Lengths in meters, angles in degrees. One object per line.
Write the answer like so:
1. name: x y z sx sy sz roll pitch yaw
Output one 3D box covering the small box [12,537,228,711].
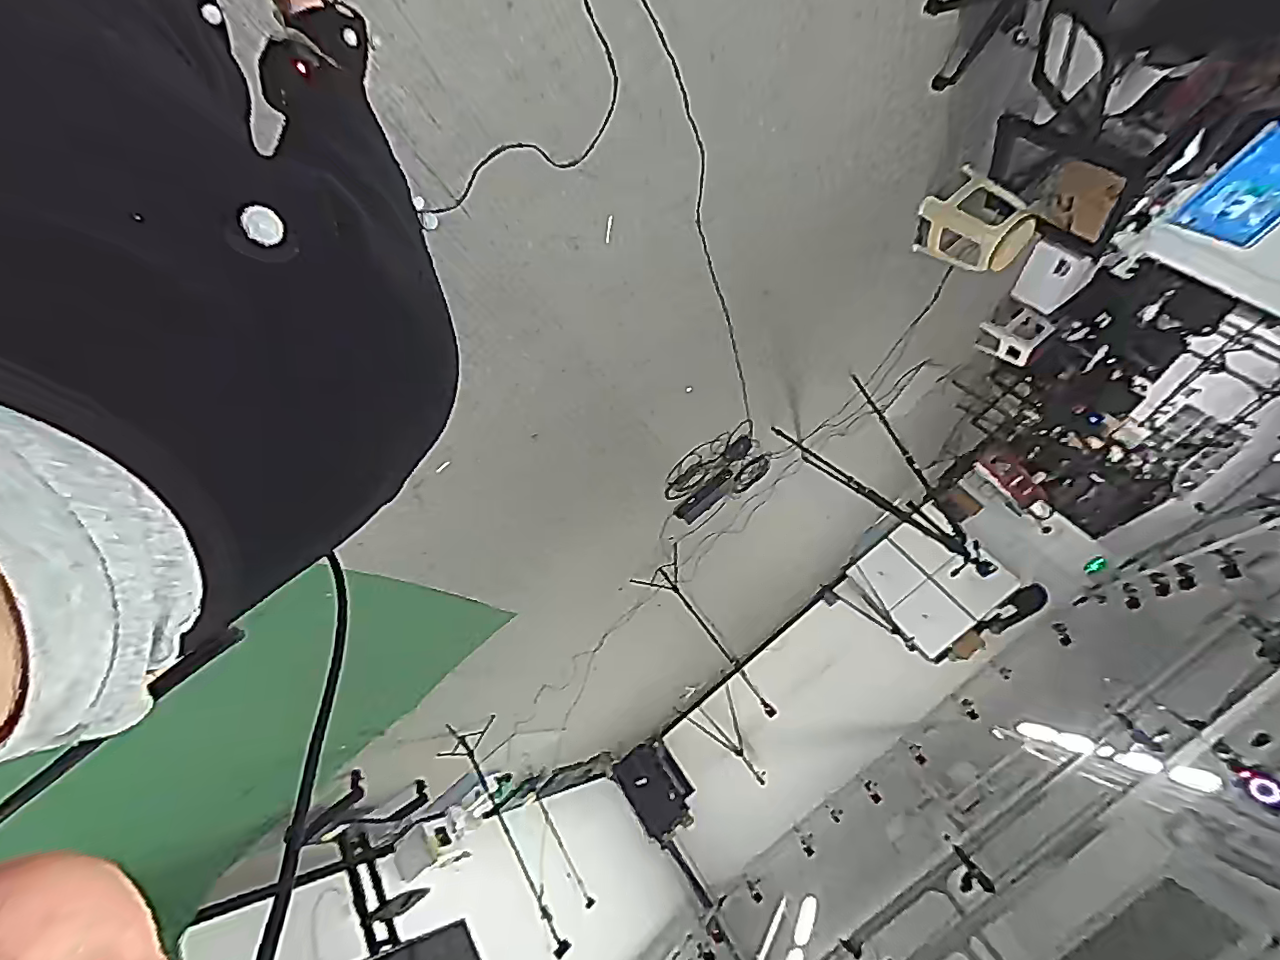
1. small box: -0.768 0.216 0.807 0.179 0.176 0.168 -44 150 4
